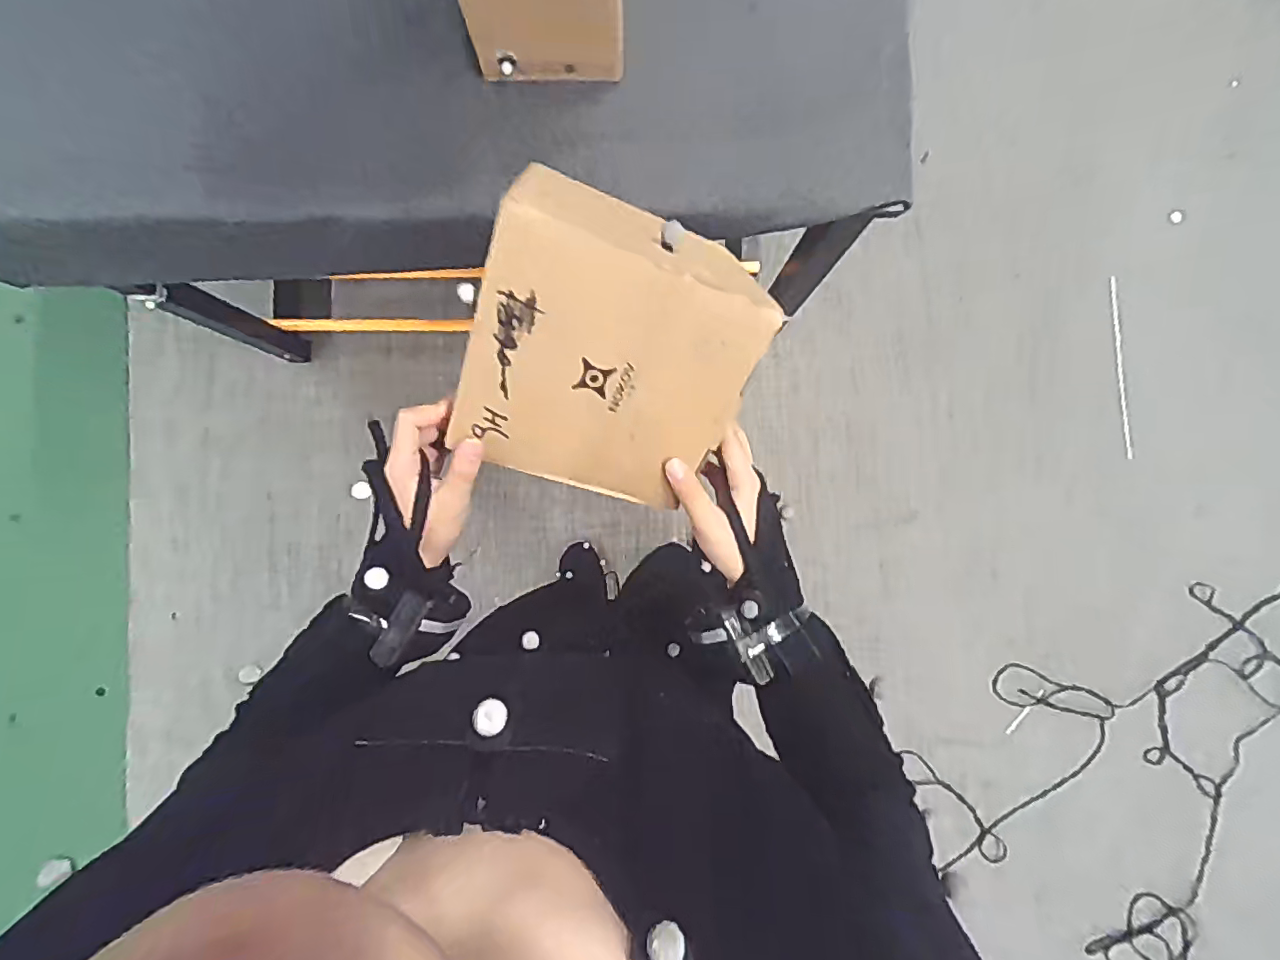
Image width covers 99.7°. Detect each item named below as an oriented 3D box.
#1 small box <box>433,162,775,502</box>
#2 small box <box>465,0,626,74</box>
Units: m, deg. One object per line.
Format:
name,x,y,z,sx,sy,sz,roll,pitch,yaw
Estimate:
small box,-0.034,-0.114,0.404,0.179,0.176,0.168,16,123,-17
small box,-0.099,-0.571,0.570,0.168,0.176,0.179,0,87,-1
